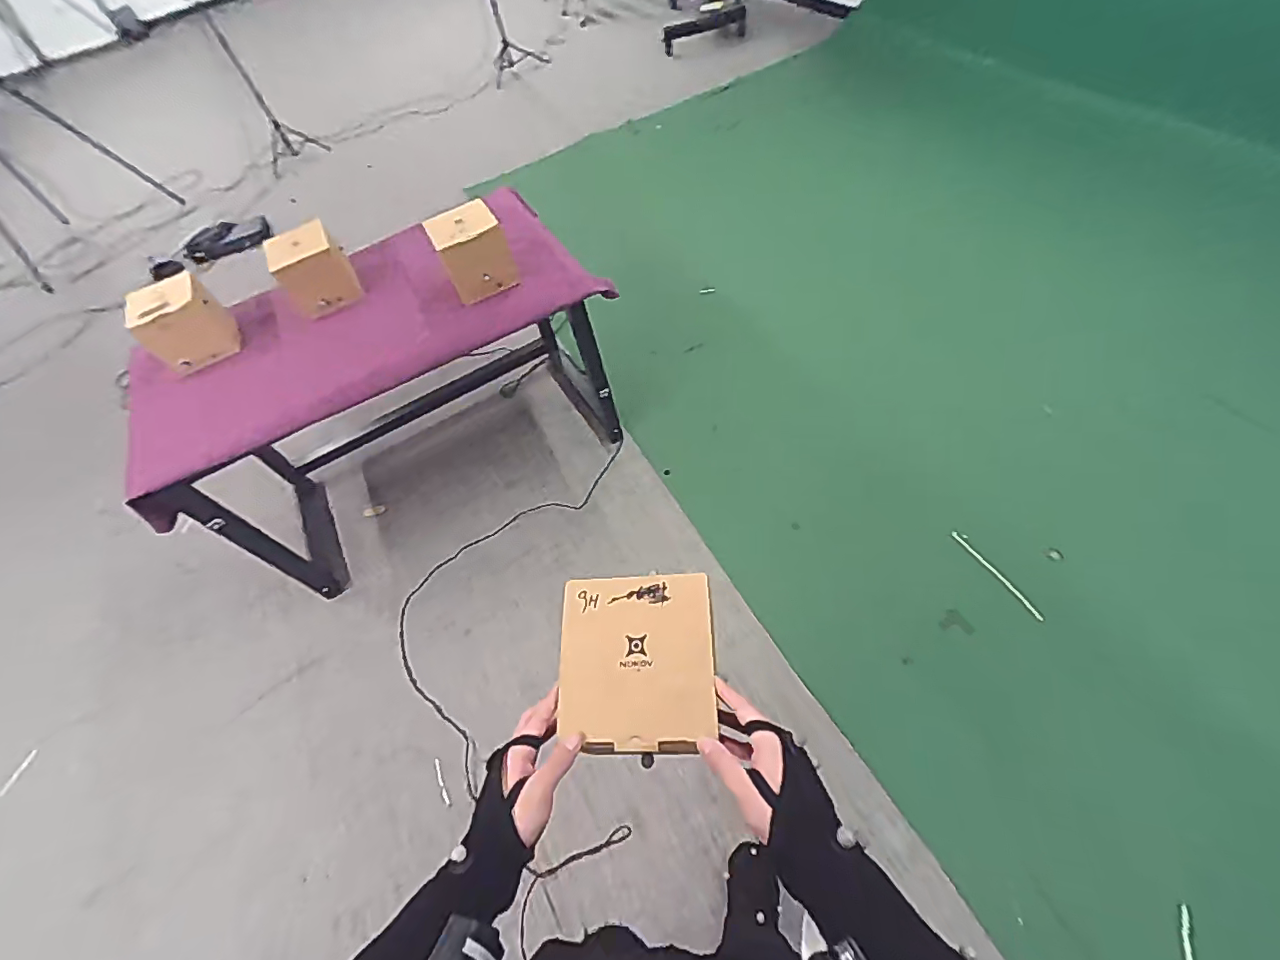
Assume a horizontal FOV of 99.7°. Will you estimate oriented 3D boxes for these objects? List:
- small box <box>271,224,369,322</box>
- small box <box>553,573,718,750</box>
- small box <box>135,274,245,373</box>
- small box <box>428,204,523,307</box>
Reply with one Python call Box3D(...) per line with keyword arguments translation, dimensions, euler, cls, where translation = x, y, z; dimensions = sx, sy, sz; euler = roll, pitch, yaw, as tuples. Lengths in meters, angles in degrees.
Box3D(translation=(-0.897, -0.580, 1.523), dimensions=(0.168, 0.176, 0.179), euler=(-28, 56, -8), cls="small box")
Box3D(translation=(0.004, 0.223, 0.644), dimensions=(0.168, 0.176, 0.179), euler=(-5, 61, 7), cls="small box")
Box3D(translation=(-1.211, -0.416, 1.466), dimensions=(0.168, 0.176, 0.179), euler=(-28, 56, -10), cls="small box")
Box3D(translation=(-0.435, -0.597, 1.443), dimensions=(0.168, 0.176, 0.179), euler=(-28, 54, -7), cls="small box")
